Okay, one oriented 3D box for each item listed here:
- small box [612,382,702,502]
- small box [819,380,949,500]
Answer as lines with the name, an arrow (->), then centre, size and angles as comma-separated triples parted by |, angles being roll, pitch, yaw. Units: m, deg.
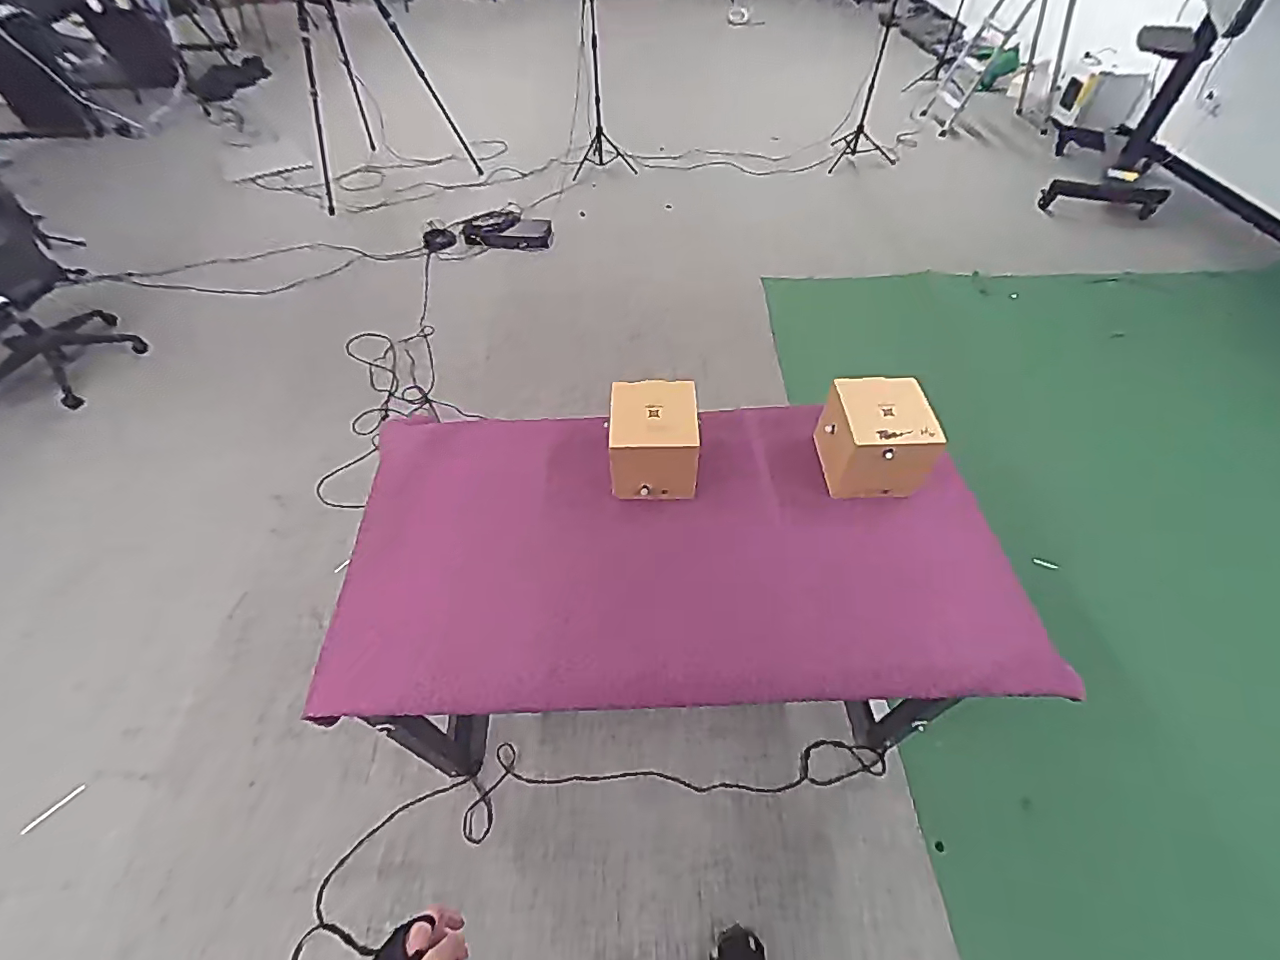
small box -> 0.032, -0.076, 1.080 | 0.168, 0.176, 0.179 | 0, 53, 1
small box -> 0.469, -0.078, 1.075 | 0.168, 0.176, 0.179 | -2, 52, 1
